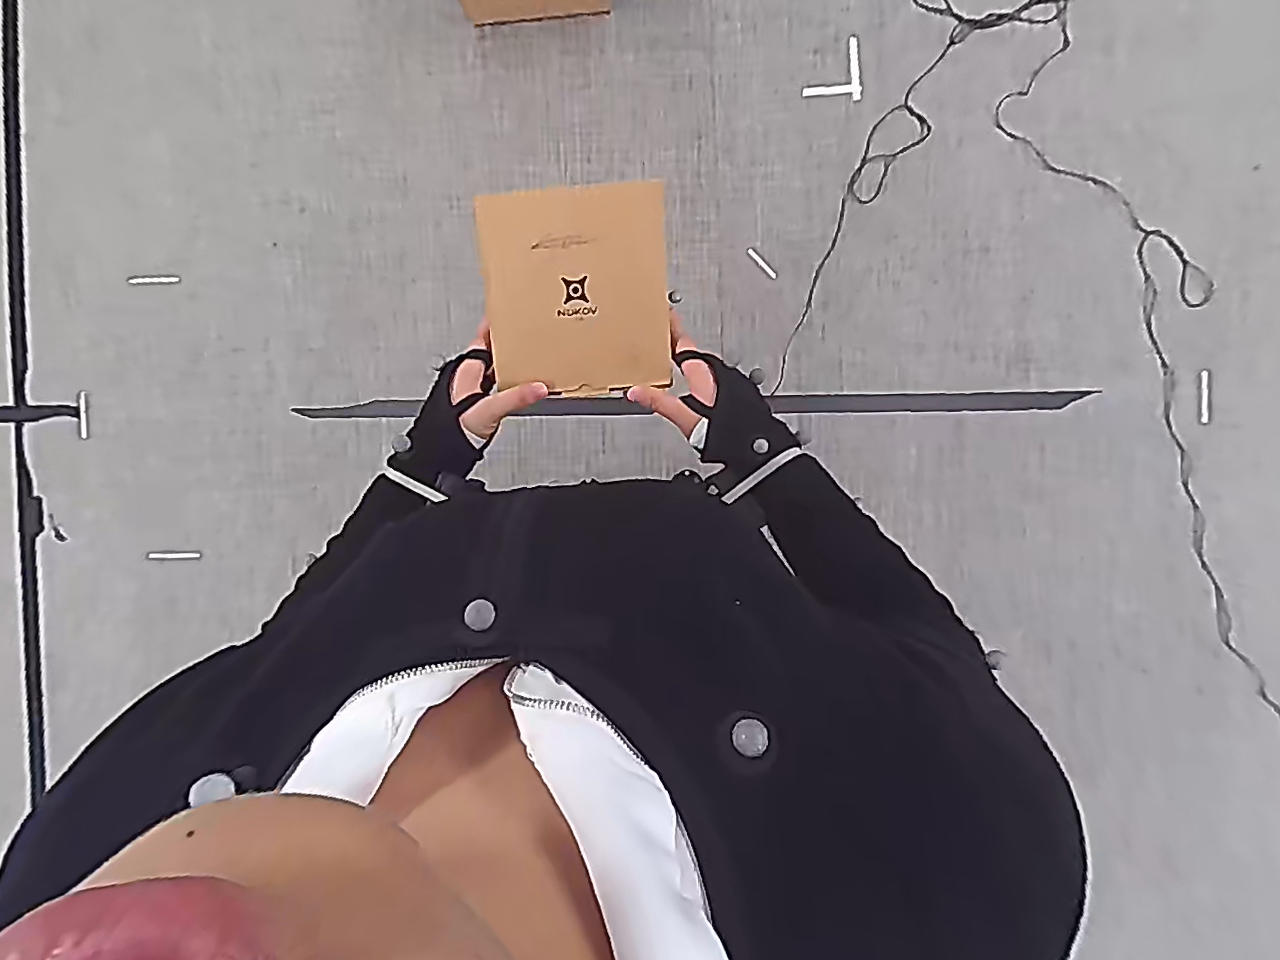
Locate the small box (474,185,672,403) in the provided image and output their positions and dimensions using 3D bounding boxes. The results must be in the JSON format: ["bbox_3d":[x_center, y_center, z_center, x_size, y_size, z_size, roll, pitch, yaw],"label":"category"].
[{"bbox_3d":[-0.054,-0.178,0.554,0.168,0.176,0.179,-4,102,1],"label":"small box"}]
